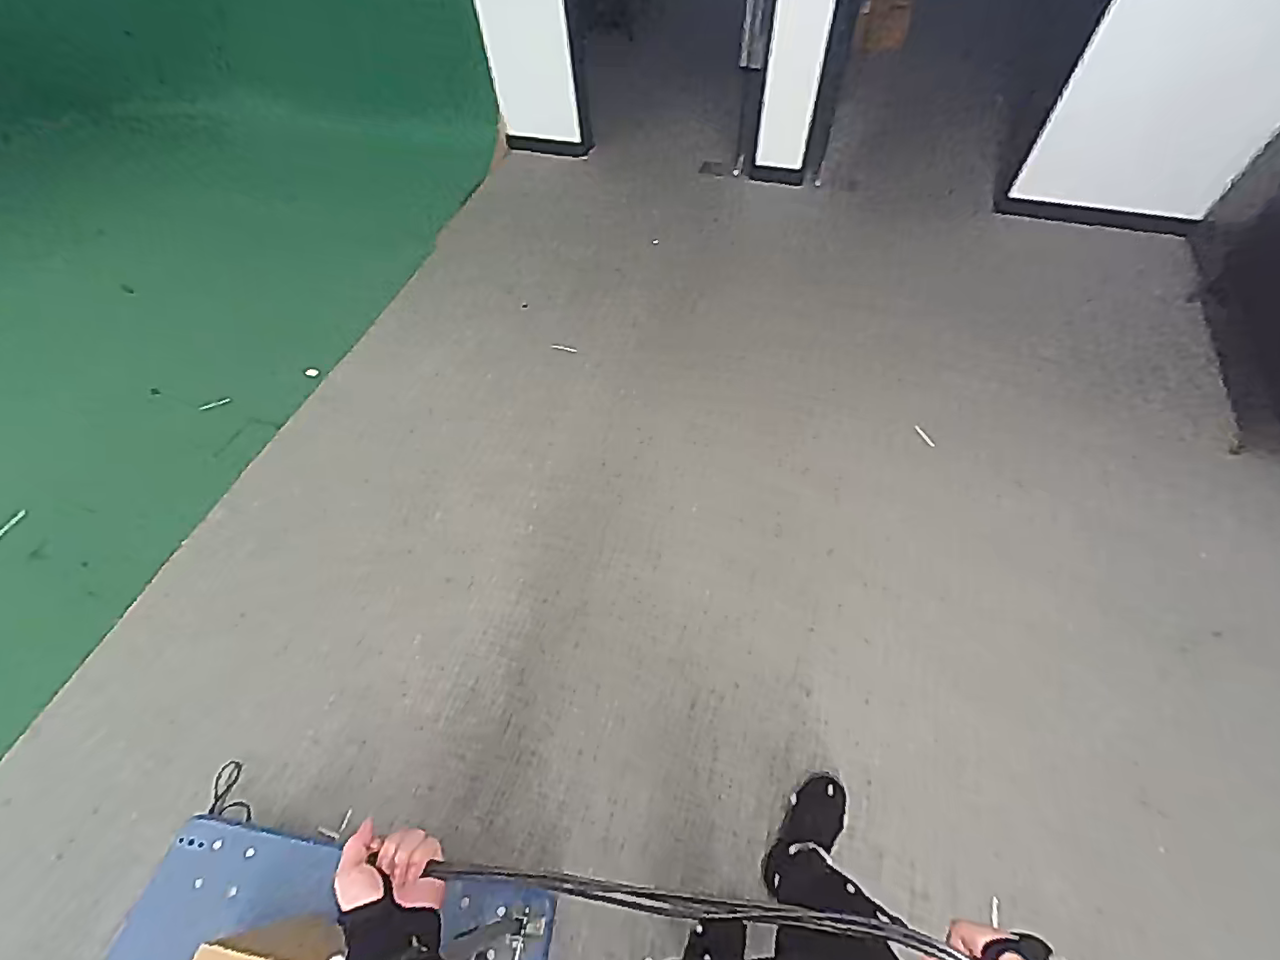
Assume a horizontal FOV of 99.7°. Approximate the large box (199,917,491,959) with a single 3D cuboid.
[{"bbox_3d":[-0.513,0.969,0.886,0.408,0.320,0.320,6,58,8],"label":"large box"}]
